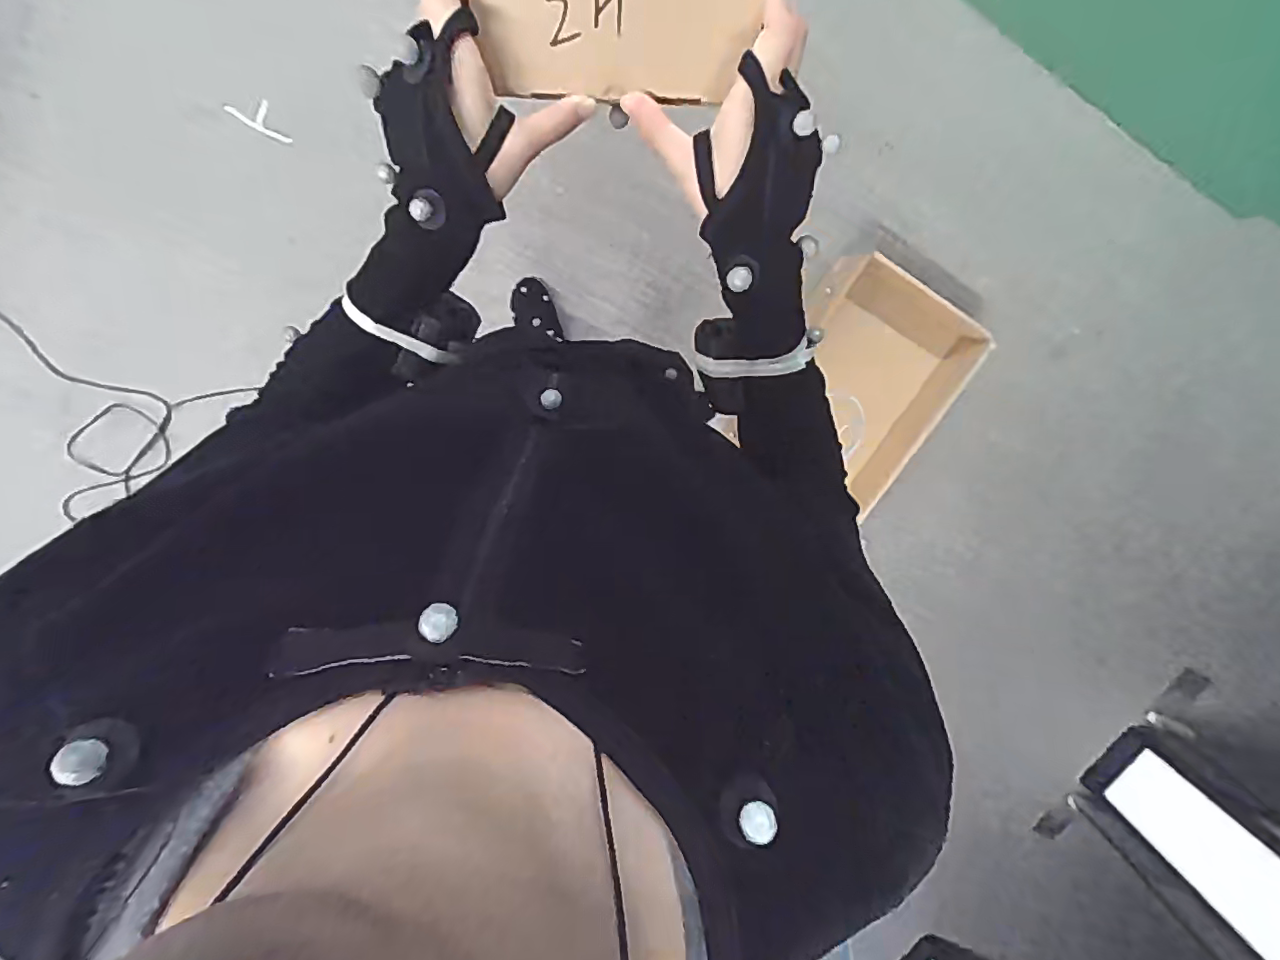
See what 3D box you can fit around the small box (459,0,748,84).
[{"bbox_3d":[-0.018,-0.361,0.337,0.168,0.176,0.179,2,125,0],"label":"small box"}]
